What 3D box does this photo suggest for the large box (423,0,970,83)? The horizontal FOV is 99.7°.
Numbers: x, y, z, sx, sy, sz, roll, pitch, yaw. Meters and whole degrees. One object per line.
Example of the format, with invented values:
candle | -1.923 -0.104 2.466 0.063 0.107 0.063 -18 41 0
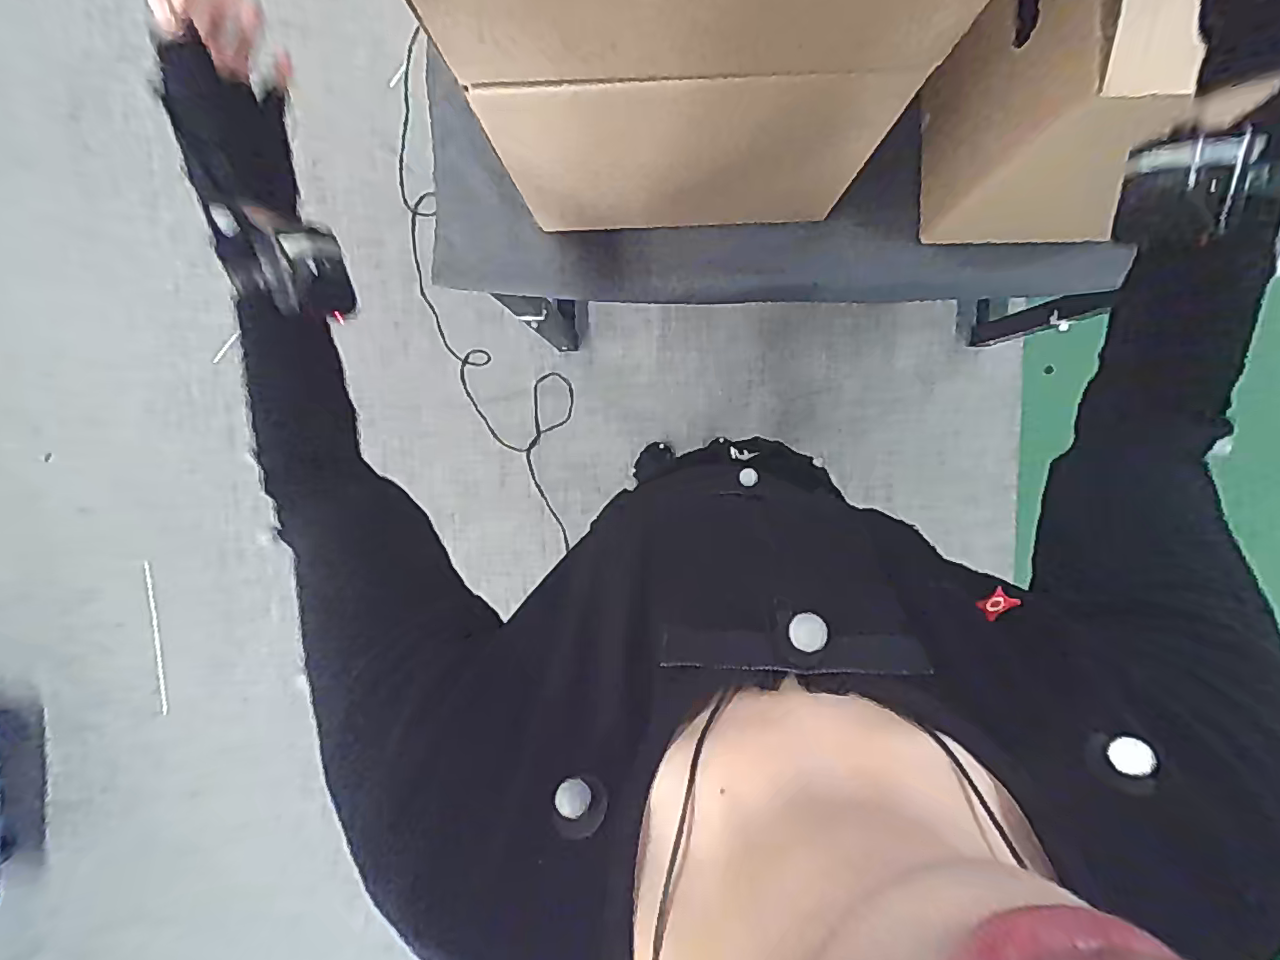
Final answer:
large box | 0.038 -0.482 0.297 0.408 0.320 0.320 -1 94 2
